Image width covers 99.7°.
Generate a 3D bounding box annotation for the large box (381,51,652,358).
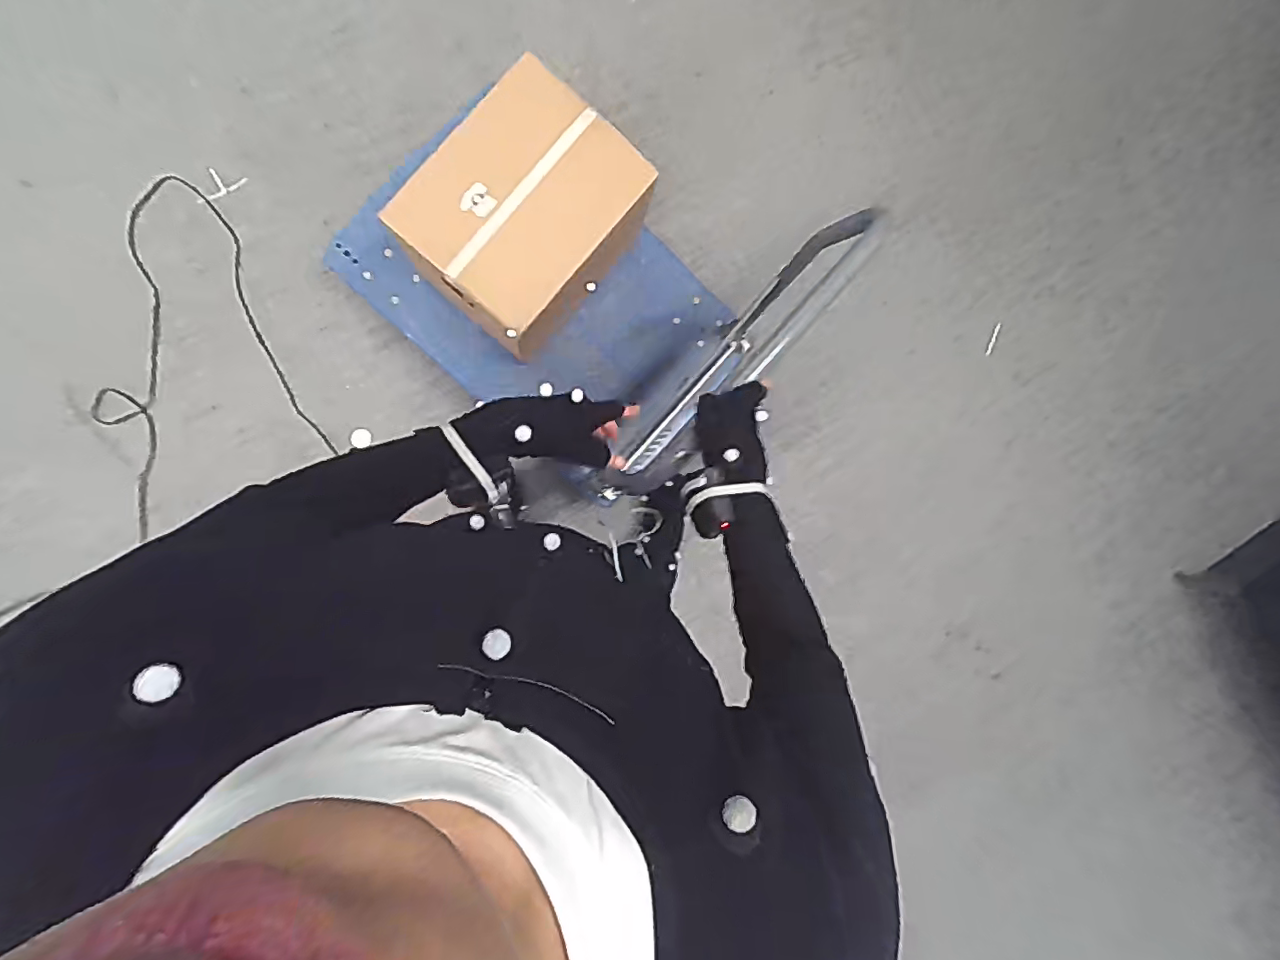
[{"bbox_3d":[-0.233,-0.522,1.112,0.320,0.320,0.408,40,87,-7],"label":"large box"}]
